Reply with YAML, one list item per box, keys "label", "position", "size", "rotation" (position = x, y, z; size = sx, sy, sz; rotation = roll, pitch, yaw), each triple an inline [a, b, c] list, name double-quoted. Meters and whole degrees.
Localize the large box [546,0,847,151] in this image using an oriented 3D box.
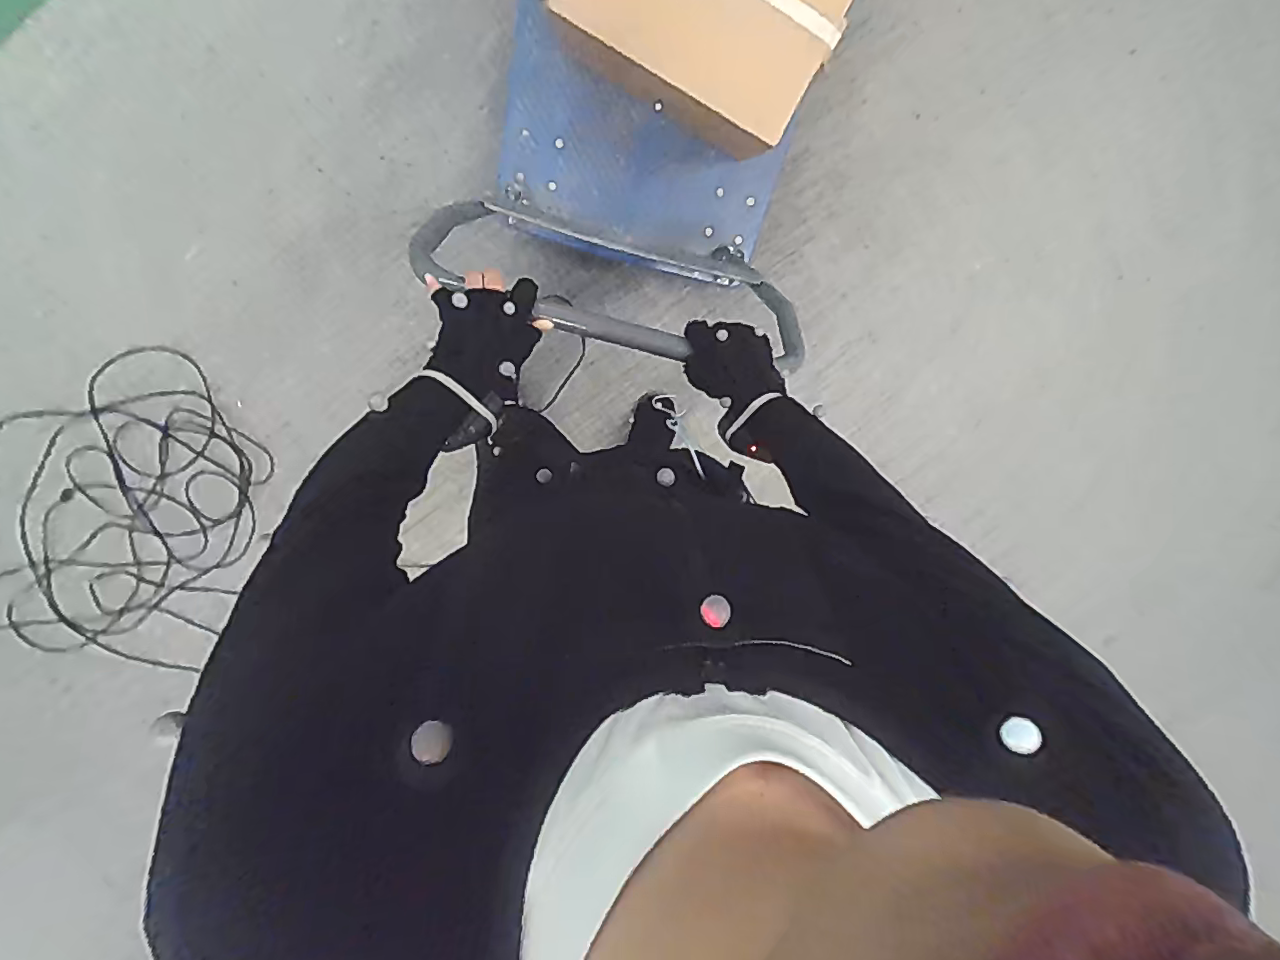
- label: "large box"
  position: [0.107, -0.808, 0.899]
  size: [0.408, 0.320, 0.320]
  rotation: [24, 115, -12]
